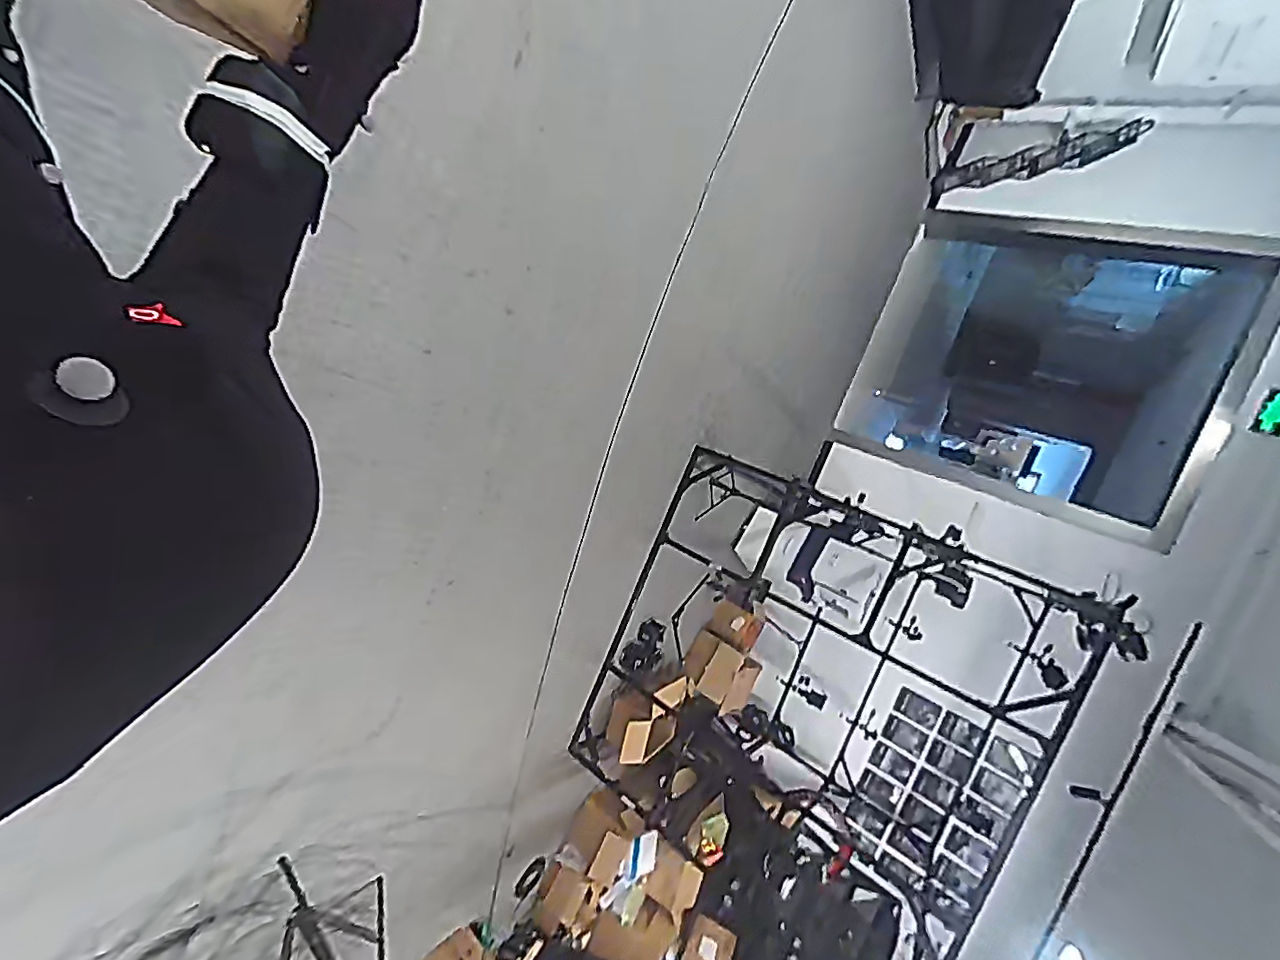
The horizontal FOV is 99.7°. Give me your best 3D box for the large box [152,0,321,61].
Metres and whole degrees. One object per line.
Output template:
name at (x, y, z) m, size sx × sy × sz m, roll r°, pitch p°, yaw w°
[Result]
large box at (-0.392, -0.555, 0.296) m, size 0.320 × 0.320 × 0.408 m, roll -56°, pitch 152°, yaw 9°
